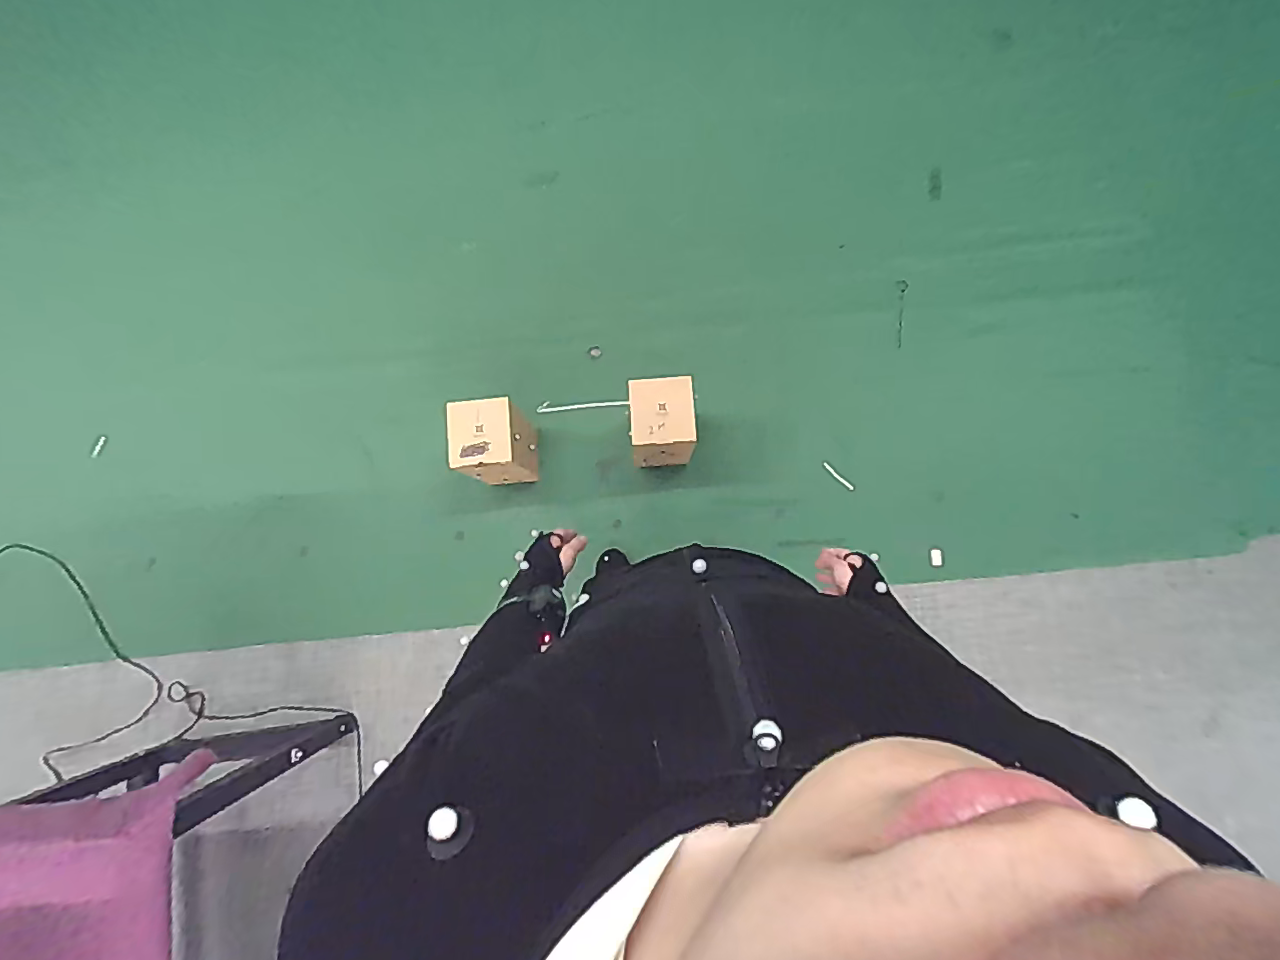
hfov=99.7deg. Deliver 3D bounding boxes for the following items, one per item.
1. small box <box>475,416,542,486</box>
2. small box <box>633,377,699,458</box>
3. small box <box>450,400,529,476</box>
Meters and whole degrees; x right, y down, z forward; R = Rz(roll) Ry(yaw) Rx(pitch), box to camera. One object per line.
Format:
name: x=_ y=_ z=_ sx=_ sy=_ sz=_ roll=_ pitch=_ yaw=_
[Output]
small box: x=-0.396 y=-0.084 z=1.633 sx=0.168 sy=0.176 sz=0.179 roll=-6 pitch=82 yaw=2
small box: x=0.067 y=-0.164 z=1.457 sx=0.168 sy=0.176 sz=0.179 roll=-4 pitch=82 yaw=2
small box: x=-0.403 y=-0.107 z=1.470 sx=0.168 sy=0.176 sz=0.179 roll=-5 pitch=82 yaw=1
